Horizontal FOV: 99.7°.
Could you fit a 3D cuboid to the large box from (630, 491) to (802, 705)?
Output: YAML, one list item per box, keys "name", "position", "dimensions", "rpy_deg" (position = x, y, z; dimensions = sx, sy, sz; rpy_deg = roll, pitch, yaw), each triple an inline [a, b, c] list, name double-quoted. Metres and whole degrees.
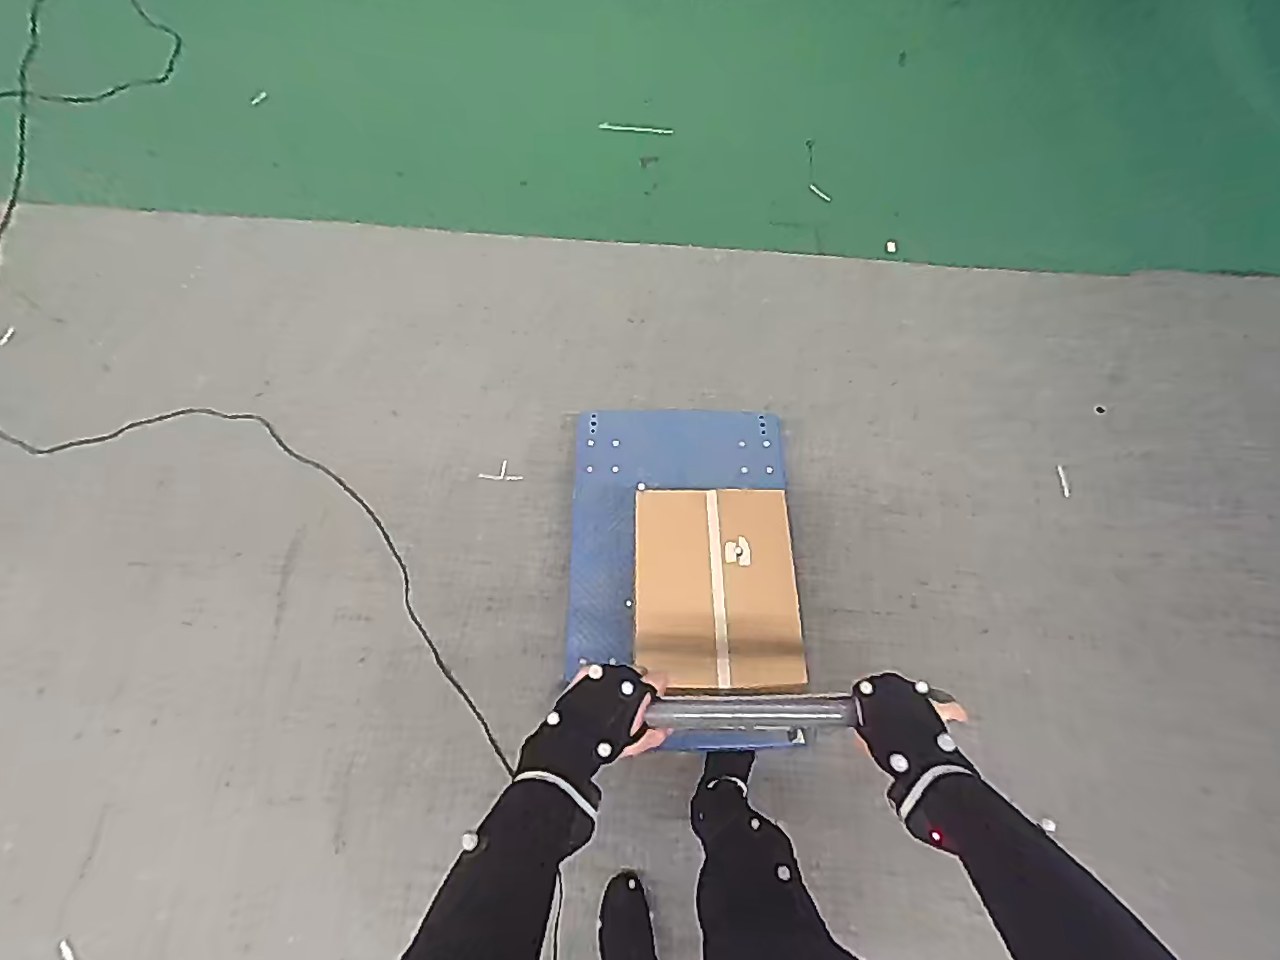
- name: "large box"
  position: [0.136, 0.268, 1.192]
  dimensions: [0.320, 0.320, 0.408]
  rpy_deg: [0, 65, -2]
